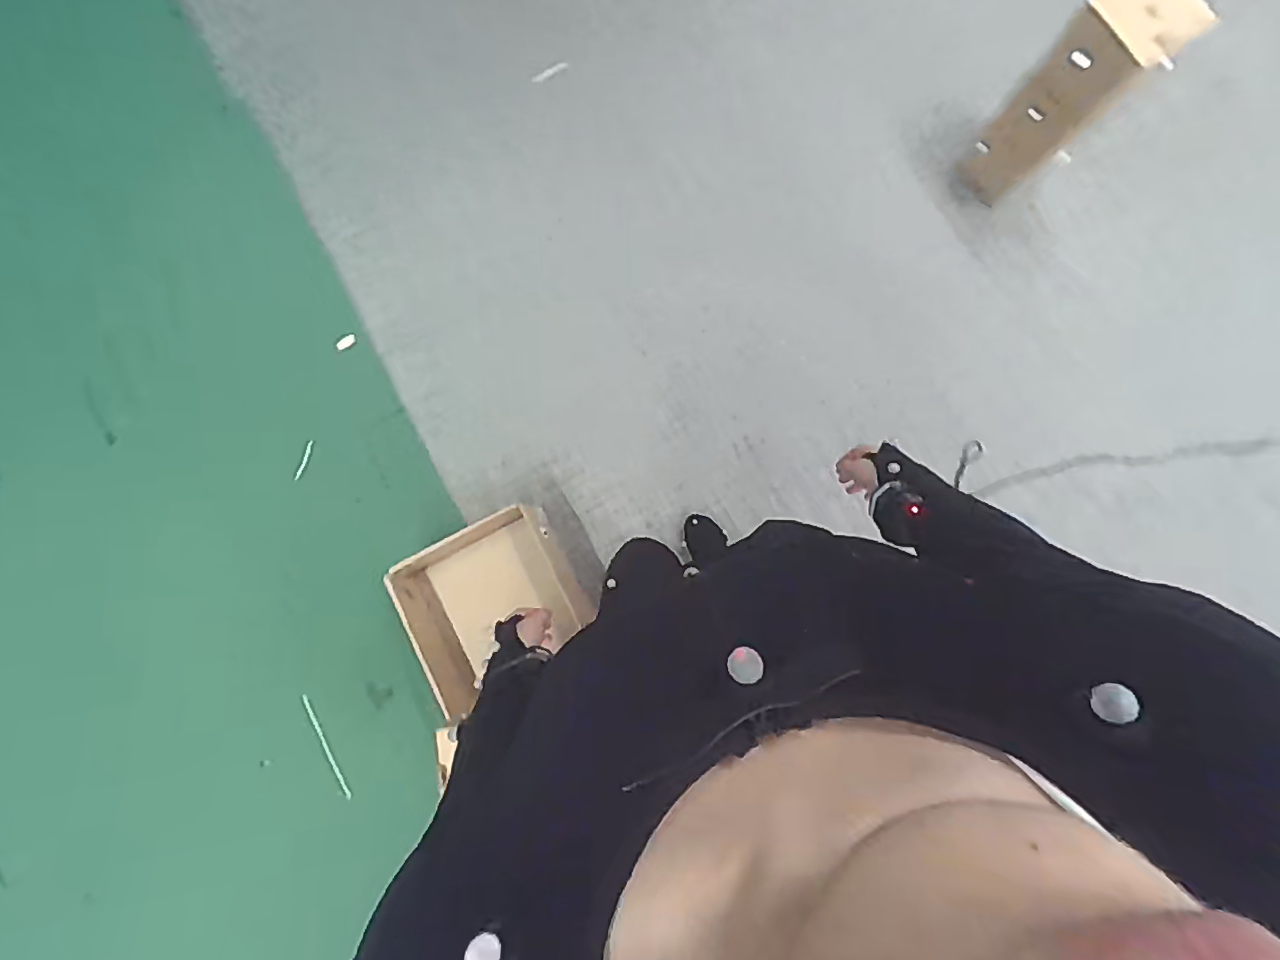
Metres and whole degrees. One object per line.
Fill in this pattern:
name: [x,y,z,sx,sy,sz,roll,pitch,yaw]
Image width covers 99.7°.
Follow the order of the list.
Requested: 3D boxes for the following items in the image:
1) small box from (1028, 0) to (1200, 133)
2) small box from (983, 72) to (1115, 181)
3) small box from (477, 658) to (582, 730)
small box: [0.975,-0.885,1.133,0.168,0.176,0.179,-32,82,1]
small box: [0.977,-0.870,1.297,0.168,0.176,0.179,-32,84,1]
small box: [-0.265,0.566,1.333,0.179,0.176,0.168,-31,83,0]
